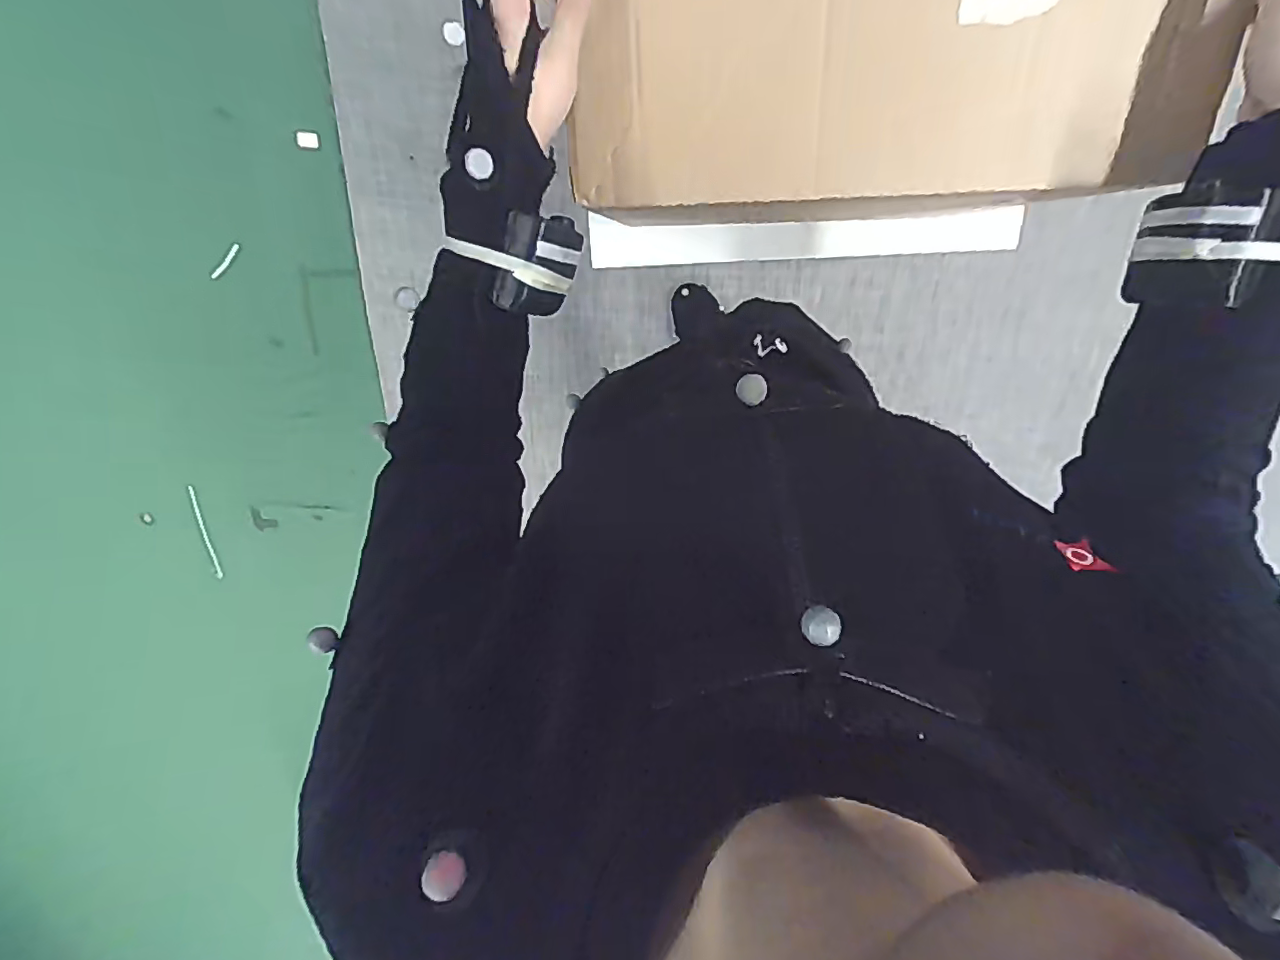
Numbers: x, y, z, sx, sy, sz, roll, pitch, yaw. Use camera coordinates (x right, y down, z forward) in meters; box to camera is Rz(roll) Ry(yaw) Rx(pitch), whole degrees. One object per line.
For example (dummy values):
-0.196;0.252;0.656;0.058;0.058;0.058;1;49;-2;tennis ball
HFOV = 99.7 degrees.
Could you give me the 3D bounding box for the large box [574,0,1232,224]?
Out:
0.161;-0.403;0.451;0.408;0.320;0.320;0;113;4;large box
